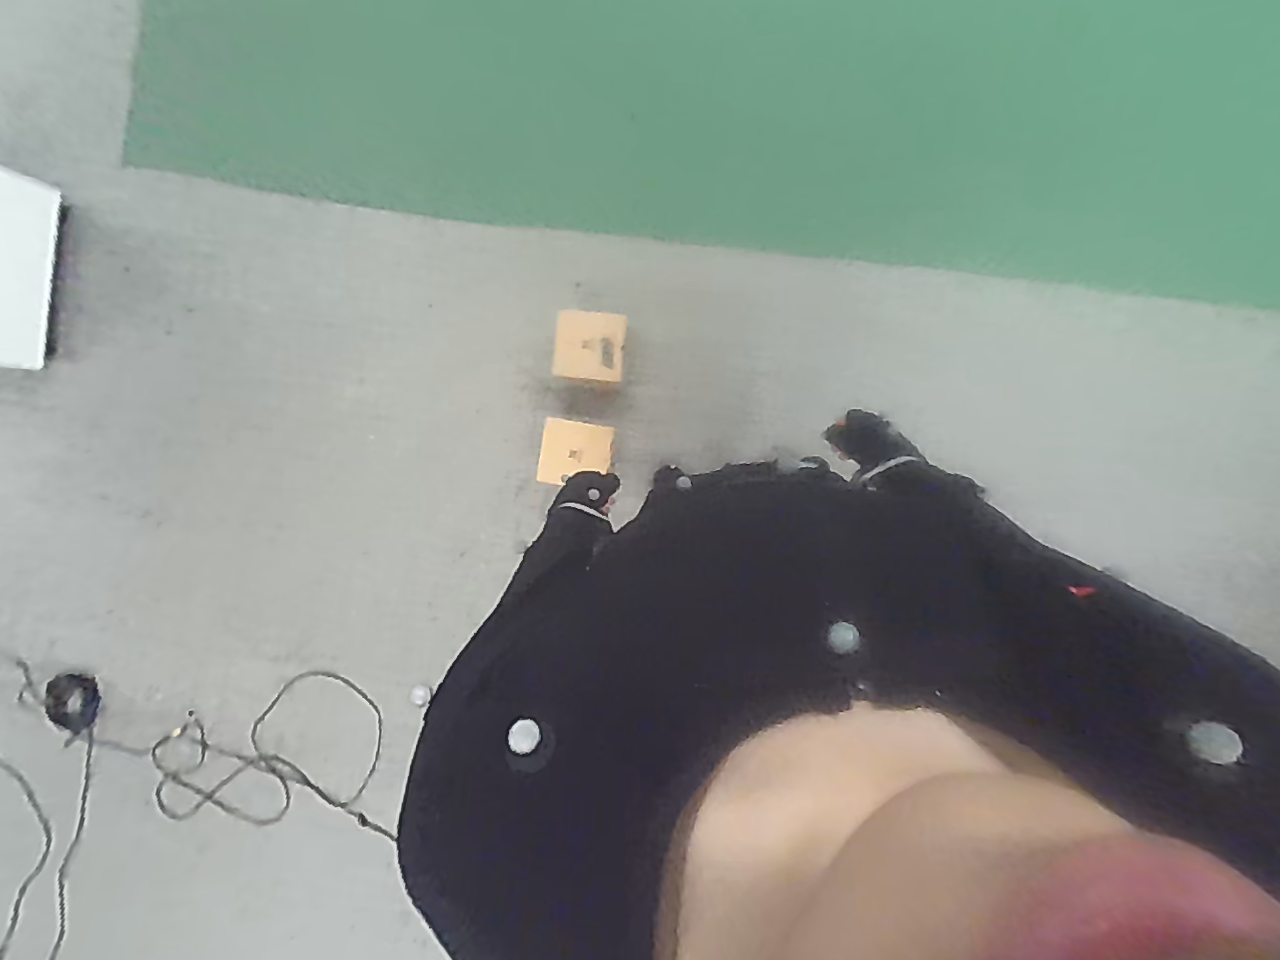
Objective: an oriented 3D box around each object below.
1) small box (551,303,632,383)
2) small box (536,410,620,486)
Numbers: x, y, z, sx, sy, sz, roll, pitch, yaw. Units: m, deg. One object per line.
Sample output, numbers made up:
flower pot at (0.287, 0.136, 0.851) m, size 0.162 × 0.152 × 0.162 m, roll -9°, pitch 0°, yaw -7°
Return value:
small box at (-0.119, -0.348, 1.397) m, size 0.179 × 0.176 × 0.168 m, roll 7°, pitch 94°, yaw 5°
small box at (-0.156, -0.082, 1.415) m, size 0.179 × 0.176 × 0.168 m, roll 10°, pitch 93°, yaw 3°
